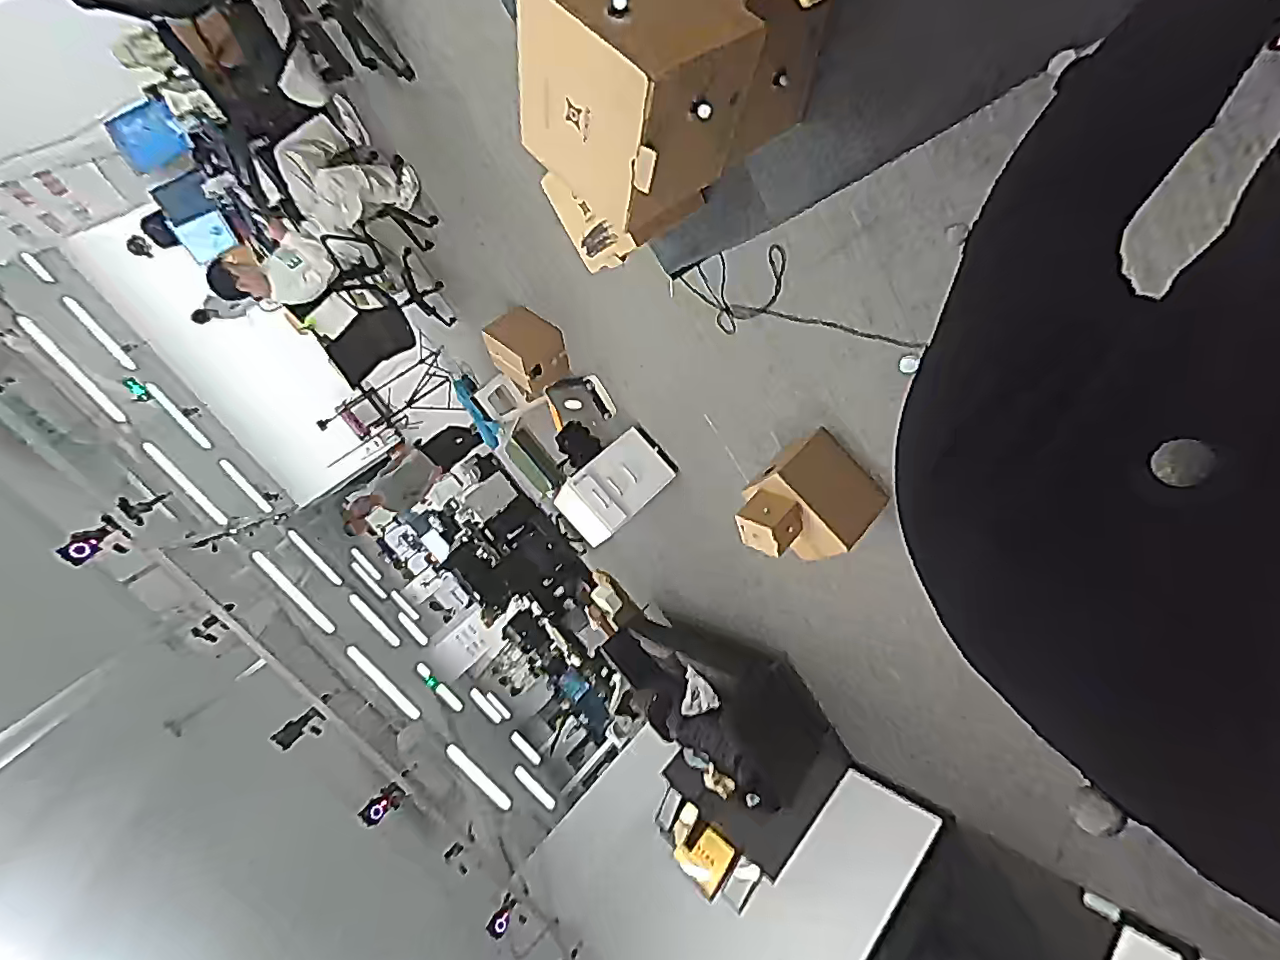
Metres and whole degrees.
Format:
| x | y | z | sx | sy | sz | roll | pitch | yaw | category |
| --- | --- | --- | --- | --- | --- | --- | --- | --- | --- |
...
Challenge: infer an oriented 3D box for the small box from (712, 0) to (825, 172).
| x | y | z | sx | sy | sz | roll | pitch | yaw | category |
| --- | --- | --- | --- | --- | --- | --- | --- | --- | --- |
| 0.094 | -0.515 | 0.651 | 0.179 | 0.176 | 0.168 | 40 | 155 | 21 | small box |

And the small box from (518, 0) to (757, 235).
| x | y | z | sx | sy | sz | roll | pitch | yaw | category |
| --- | --- | --- | --- | --- | --- | --- | --- | --- | --- |
| -0.006 | -0.411 | 0.576 | 0.179 | 0.176 | 0.168 | 45 | 156 | 10 | small box |

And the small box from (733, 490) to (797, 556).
| x | y | z | sx | sy | sz | roll | pitch | yaw | category |
| --- | --- | --- | --- | --- | --- | --- | --- | --- | --- |
| 0.499 | 0.164 | 2.122 | 0.179 | 0.176 | 0.168 | 21 | 145 | 44 | small box |
